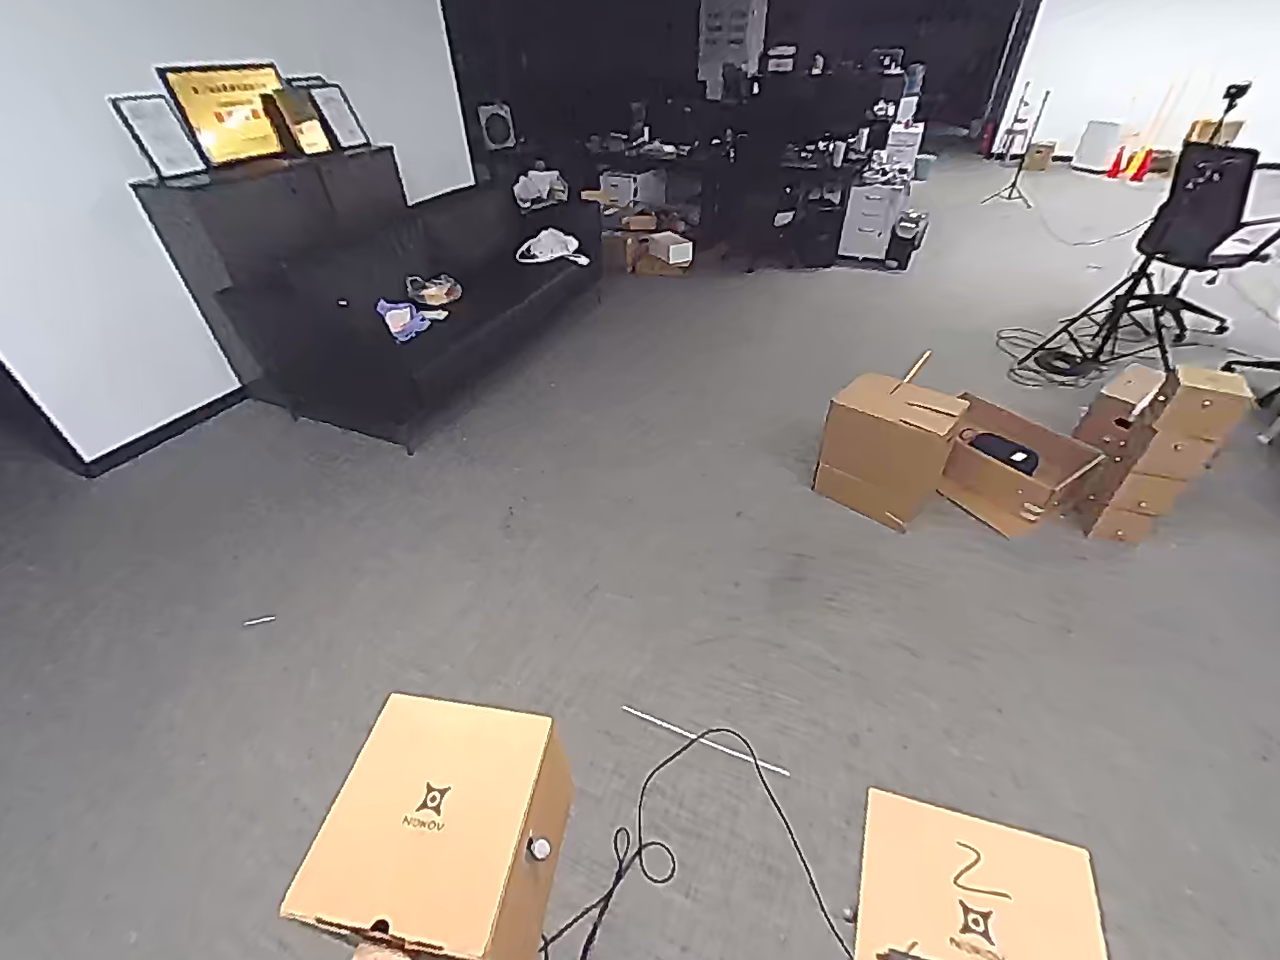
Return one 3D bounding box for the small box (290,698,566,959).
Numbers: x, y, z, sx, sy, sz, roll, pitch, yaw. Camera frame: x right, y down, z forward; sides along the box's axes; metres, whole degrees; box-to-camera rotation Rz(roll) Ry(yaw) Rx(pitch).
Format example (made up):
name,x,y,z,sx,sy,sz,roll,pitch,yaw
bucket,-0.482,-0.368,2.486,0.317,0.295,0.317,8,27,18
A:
name,x,y,z,sx,sy,sz,roll,pitch,yaw
small box,-0.173,0.340,0.515,0.168,0.176,0.179,5,43,8
